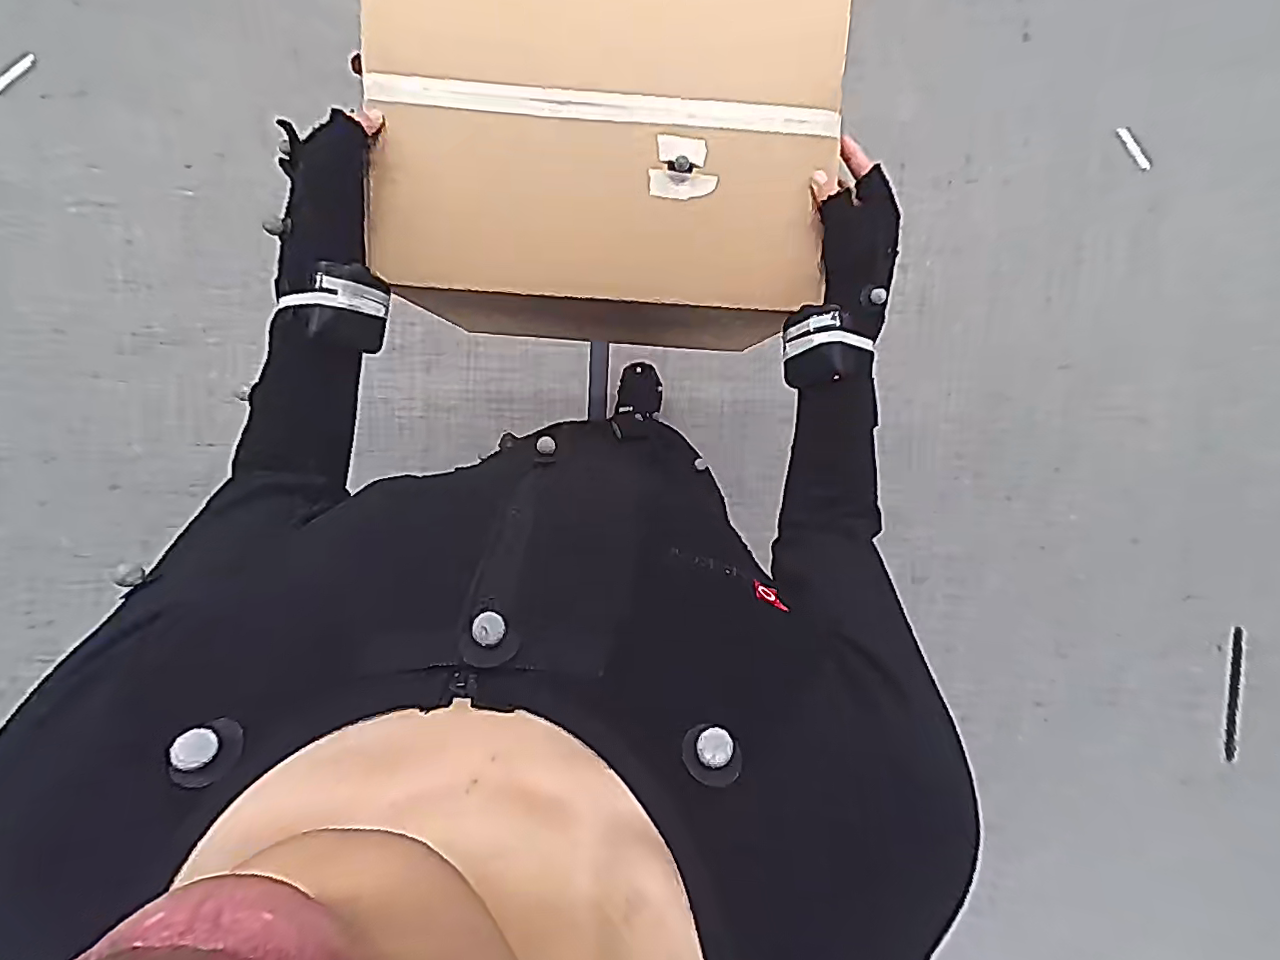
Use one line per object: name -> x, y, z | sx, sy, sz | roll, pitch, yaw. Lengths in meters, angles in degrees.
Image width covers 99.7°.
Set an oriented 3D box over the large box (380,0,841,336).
large box -> -0.034, -0.348, 0.622 | 0.408, 0.320, 0.320 | 2, 98, -3
